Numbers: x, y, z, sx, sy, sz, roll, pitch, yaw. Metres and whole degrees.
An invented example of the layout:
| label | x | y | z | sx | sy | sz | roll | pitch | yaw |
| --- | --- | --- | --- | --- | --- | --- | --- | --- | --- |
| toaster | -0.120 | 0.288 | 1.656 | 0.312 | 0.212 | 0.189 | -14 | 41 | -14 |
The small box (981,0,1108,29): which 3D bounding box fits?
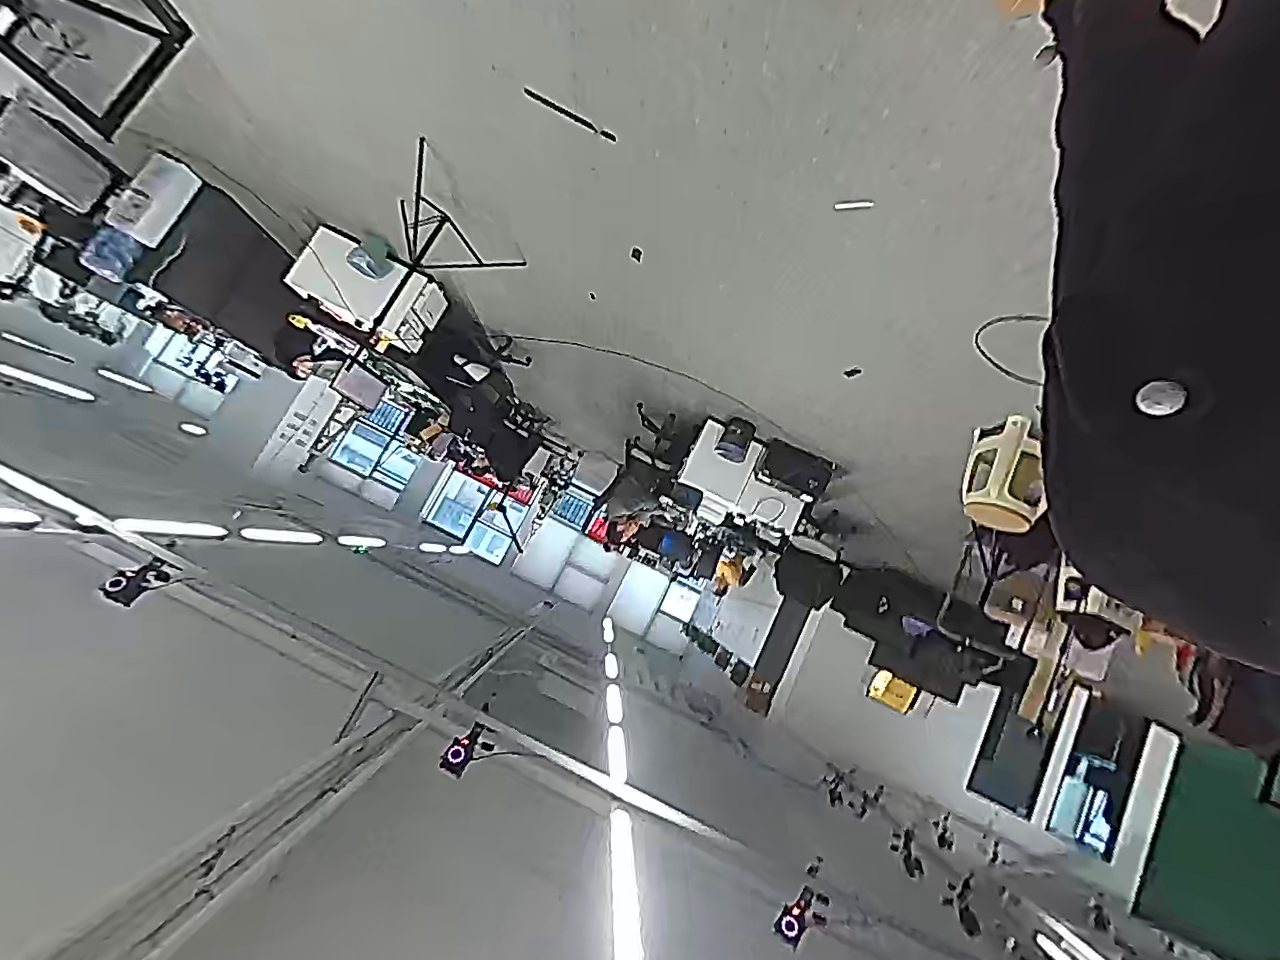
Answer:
| label | x | y | z | sx | sy | sz | roll | pitch | yaw |
| --- | --- | --- | --- | --- | --- | --- | --- | --- | --- |
| small box | 0.453 | -0.613 | 0.545 | 0.176 | 0.179 | 0.168 | -16 | 168 | -12 |
